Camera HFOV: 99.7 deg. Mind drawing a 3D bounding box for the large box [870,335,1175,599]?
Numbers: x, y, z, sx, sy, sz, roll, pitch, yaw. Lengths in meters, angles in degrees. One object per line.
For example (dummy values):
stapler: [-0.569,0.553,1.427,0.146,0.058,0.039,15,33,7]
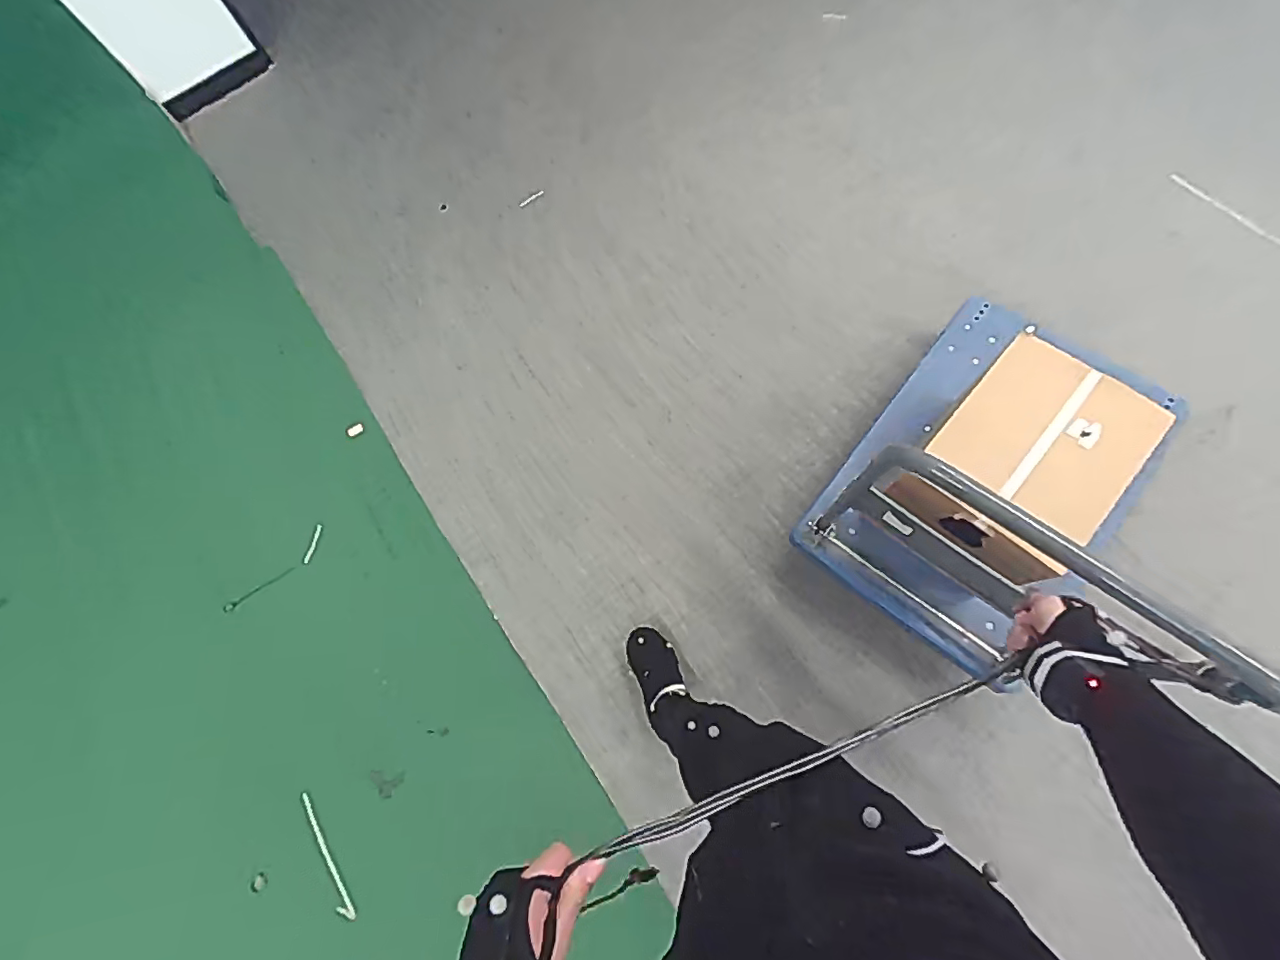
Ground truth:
large box: [0.772,-0.011,1.154,0.320,0.320,0.408,41,79,16]
